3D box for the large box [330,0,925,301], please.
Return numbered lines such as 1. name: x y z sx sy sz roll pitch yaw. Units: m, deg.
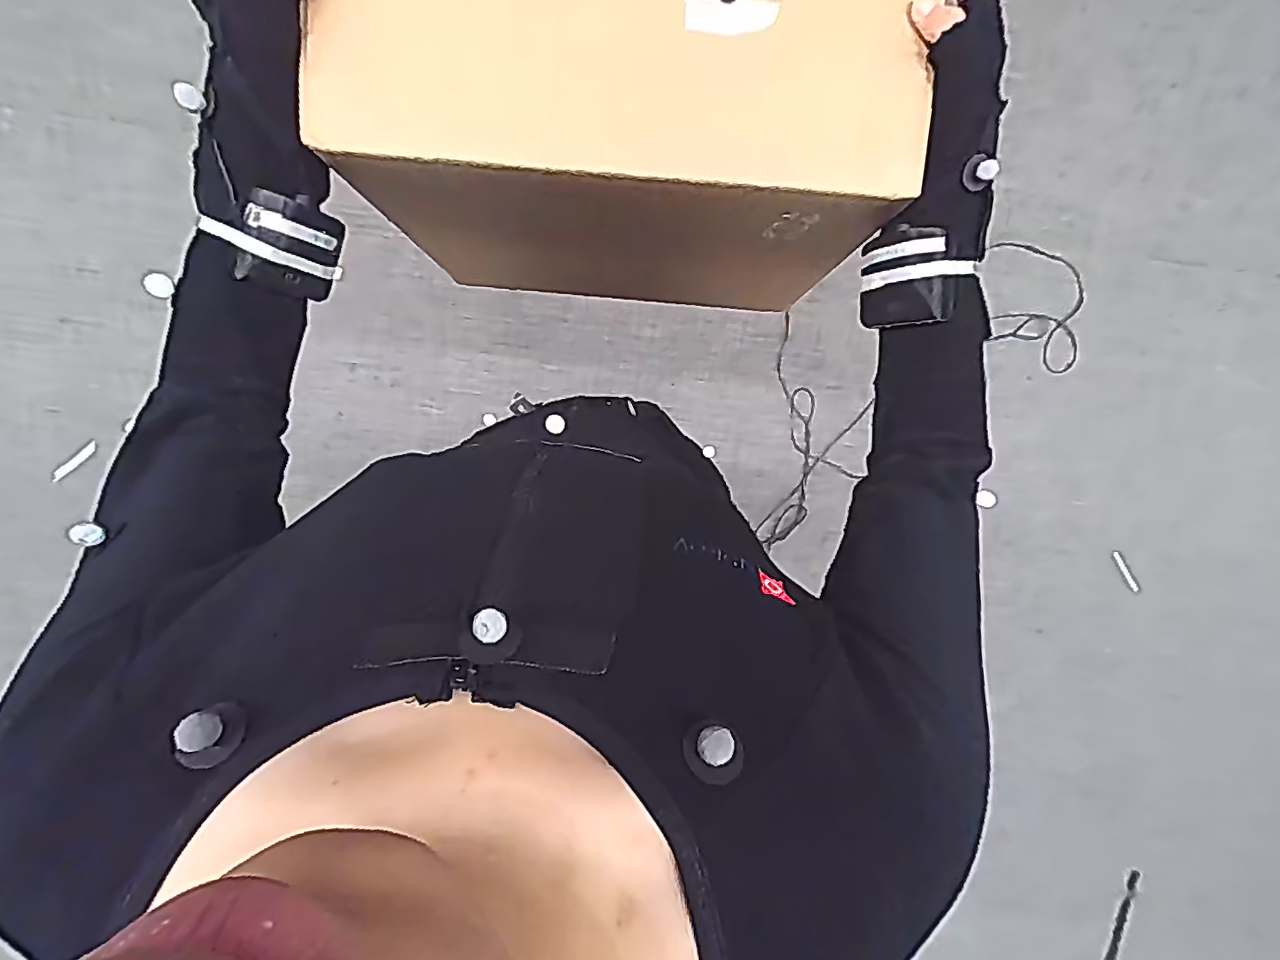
1. large box: -0.007 -0.372 0.508 0.408 0.320 0.320 4 94 -1
